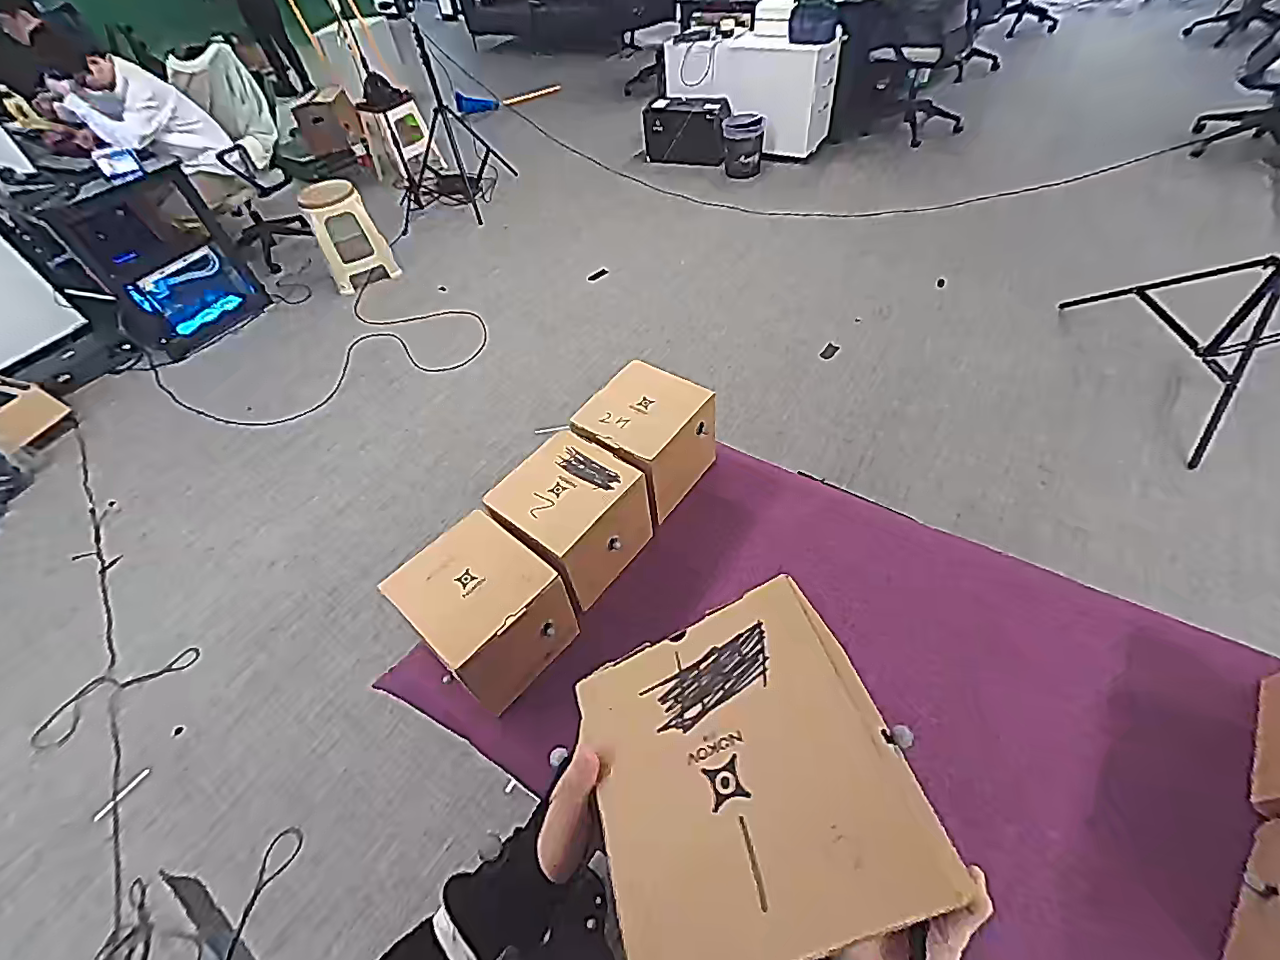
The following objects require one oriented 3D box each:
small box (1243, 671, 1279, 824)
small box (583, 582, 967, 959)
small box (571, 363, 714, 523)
[{"bbox_3d":[0.771,0.285,0.540,0.168,0.176,0.179,28,58,26],"label":"small box"},{"bbox_3d":[0.086,0.205,0.363,0.168,0.176,0.179,-31,47,12],"label":"small box"},{"bbox_3d":[0.010,-0.063,0.920,0.168,0.176,0.179,28,60,27],"label":"small box"}]
